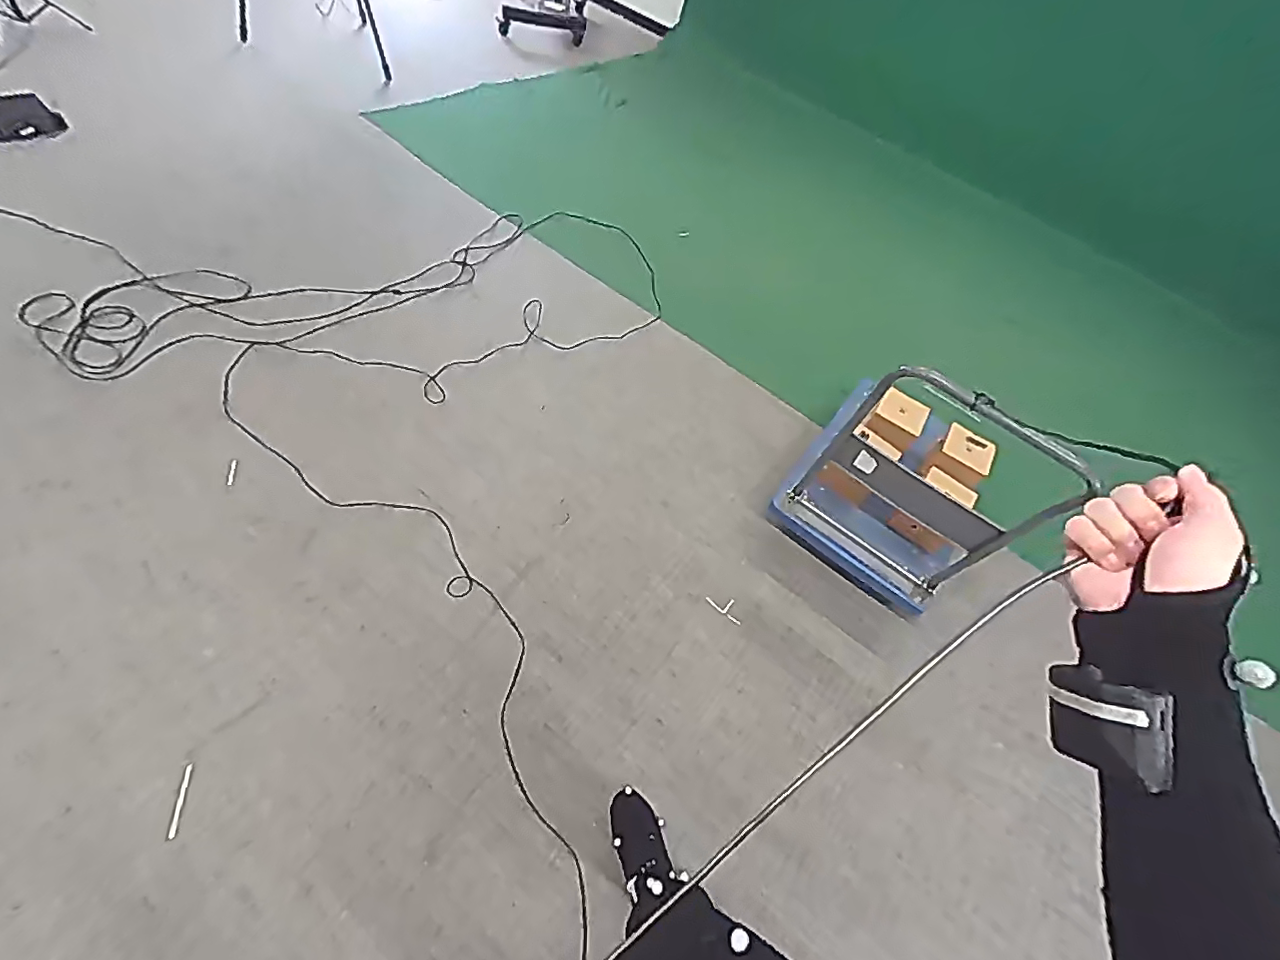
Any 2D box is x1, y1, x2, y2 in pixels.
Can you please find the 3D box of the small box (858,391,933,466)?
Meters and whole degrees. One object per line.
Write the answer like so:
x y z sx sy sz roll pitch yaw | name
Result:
0.920 -0.182 1.962 0.168 0.176 0.179 34 55 11 | small box

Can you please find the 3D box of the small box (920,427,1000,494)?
1.127 -0.048 1.913 0.168 0.176 0.179 33 56 12 | small box

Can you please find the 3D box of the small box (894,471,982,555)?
0.965 0.110 1.765 0.168 0.176 0.179 37 56 14 | small box
